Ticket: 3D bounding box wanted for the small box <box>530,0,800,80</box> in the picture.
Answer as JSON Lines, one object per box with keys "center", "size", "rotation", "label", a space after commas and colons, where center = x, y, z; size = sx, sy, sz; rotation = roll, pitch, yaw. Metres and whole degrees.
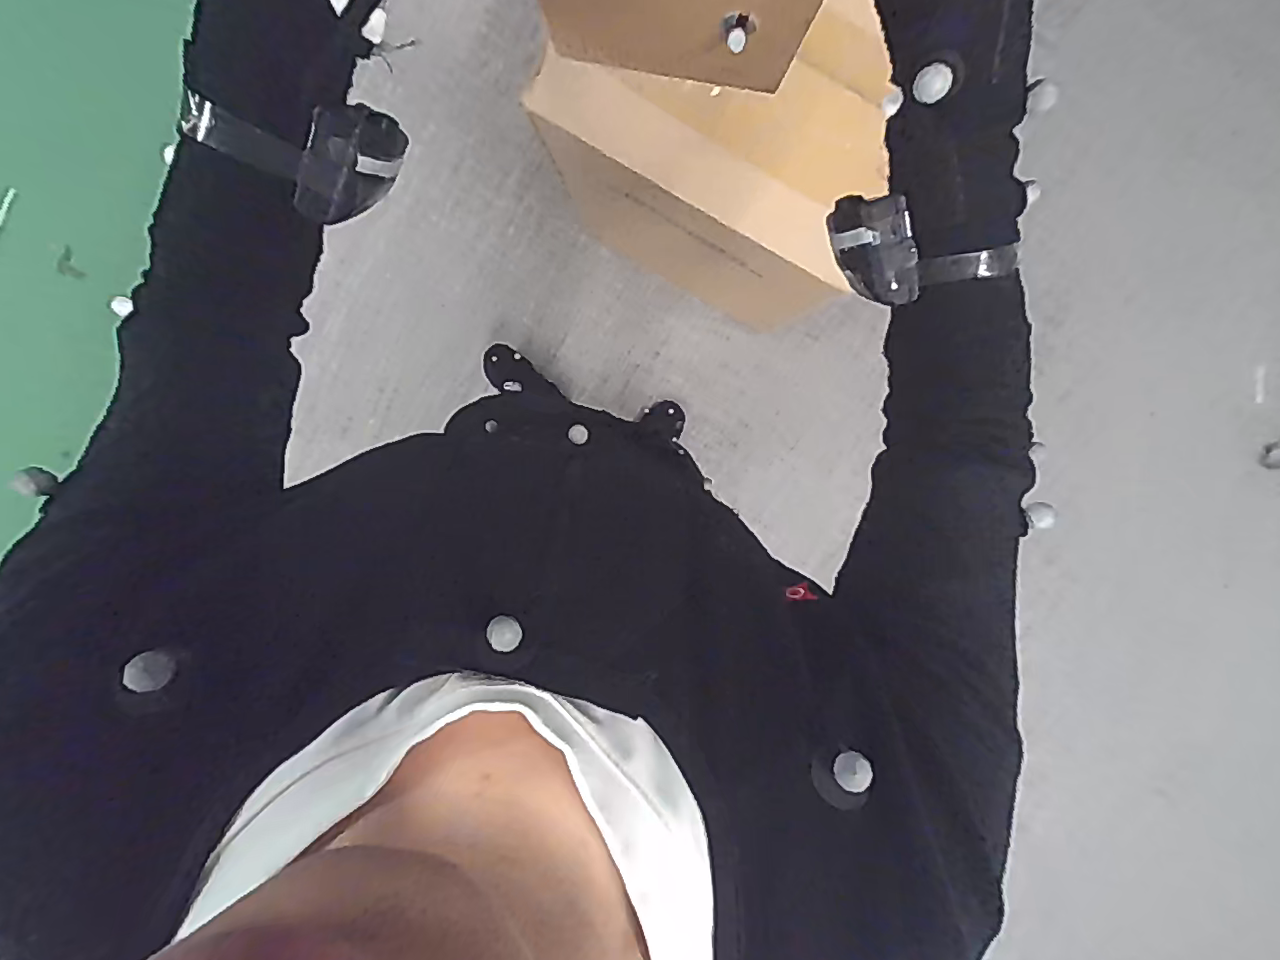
{"center": [0.023, -0.374, 0.323], "size": [0.179, 0.176, 0.168], "rotation": [7, 104, 1], "label": "small box"}
